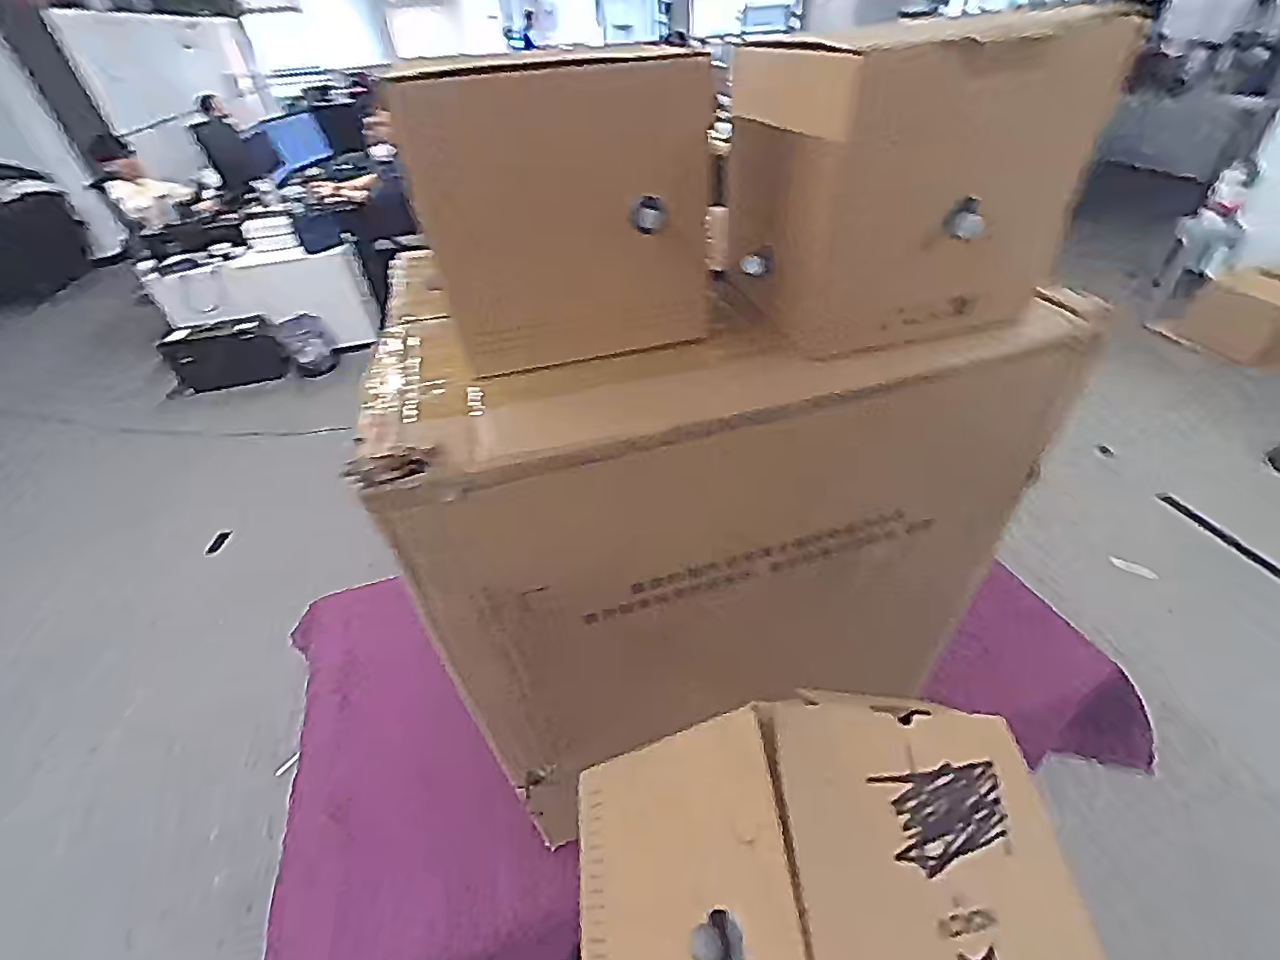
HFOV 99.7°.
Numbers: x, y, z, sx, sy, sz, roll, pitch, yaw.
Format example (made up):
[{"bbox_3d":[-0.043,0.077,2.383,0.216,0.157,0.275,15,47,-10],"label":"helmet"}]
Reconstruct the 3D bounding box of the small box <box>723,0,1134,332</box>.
[{"bbox_3d":[0.165,-0.217,0.383,0.168,0.176,0.179,-13,41,-8],"label":"small box"}]

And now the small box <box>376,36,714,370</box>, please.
[{"bbox_3d":[-0.060,-0.199,0.382,0.179,0.176,0.168,-14,41,-10],"label":"small box"}]
